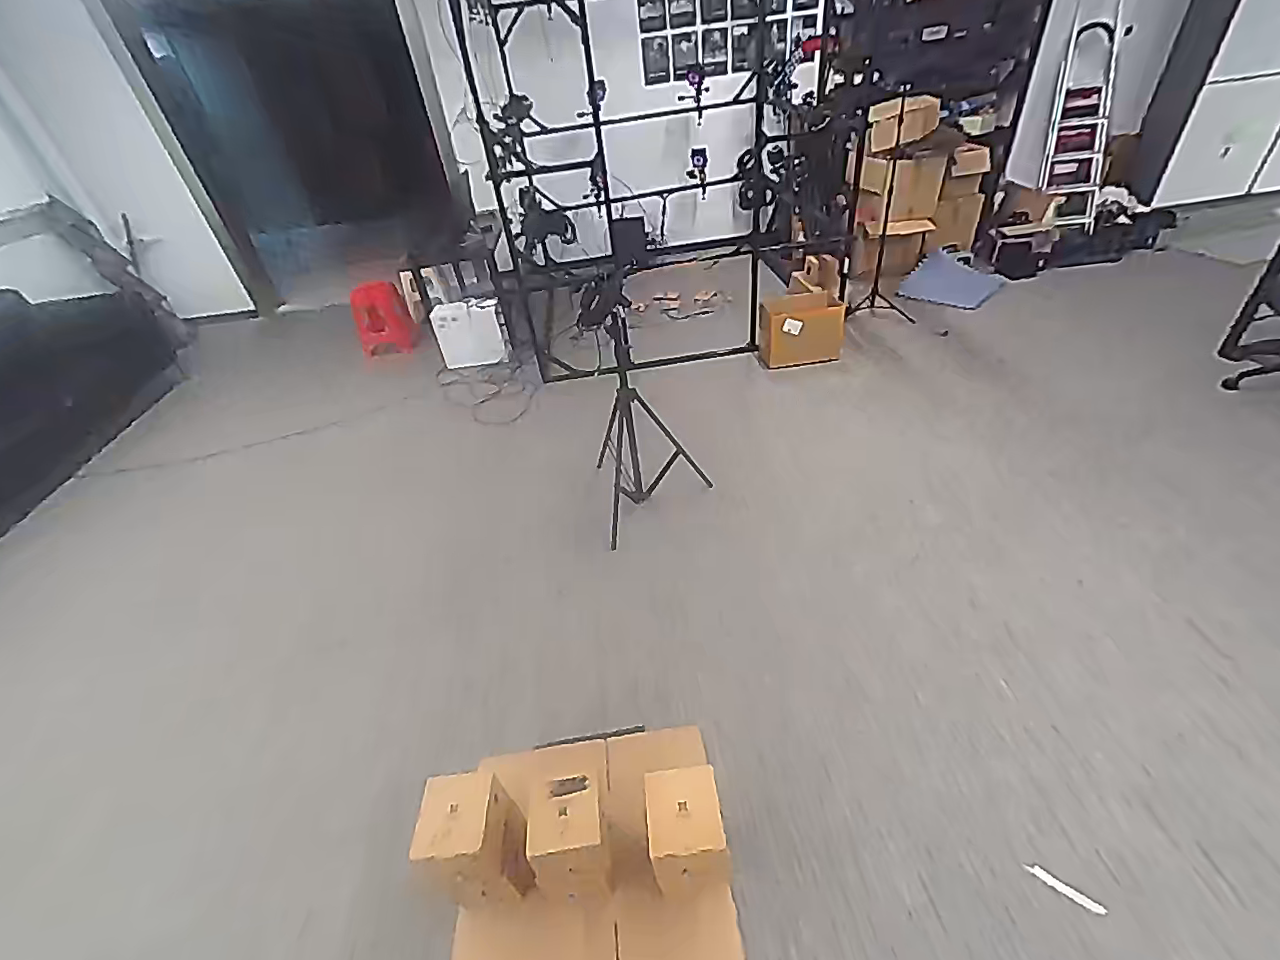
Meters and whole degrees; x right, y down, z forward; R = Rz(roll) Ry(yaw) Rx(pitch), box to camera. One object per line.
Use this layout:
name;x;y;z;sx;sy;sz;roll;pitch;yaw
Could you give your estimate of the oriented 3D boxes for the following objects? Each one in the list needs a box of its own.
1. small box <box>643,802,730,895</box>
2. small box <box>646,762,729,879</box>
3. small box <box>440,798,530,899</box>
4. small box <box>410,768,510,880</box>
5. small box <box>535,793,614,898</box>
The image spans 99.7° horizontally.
small box;0.118;0.904;1.358;0.179;0.176;0.168;-14;39;-8
small box;0.106;0.785;1.247;0.168;0.176;0.179;-8;39;0
small box;-0.388;0.952;1.389;0.168;0.176;0.179;-8;39;2
small box;-0.418;0.821;1.292;0.168;0.176;0.179;-7;39;3
small box;-0.160;0.930;1.376;0.168;0.176;0.179;-6;39;2
